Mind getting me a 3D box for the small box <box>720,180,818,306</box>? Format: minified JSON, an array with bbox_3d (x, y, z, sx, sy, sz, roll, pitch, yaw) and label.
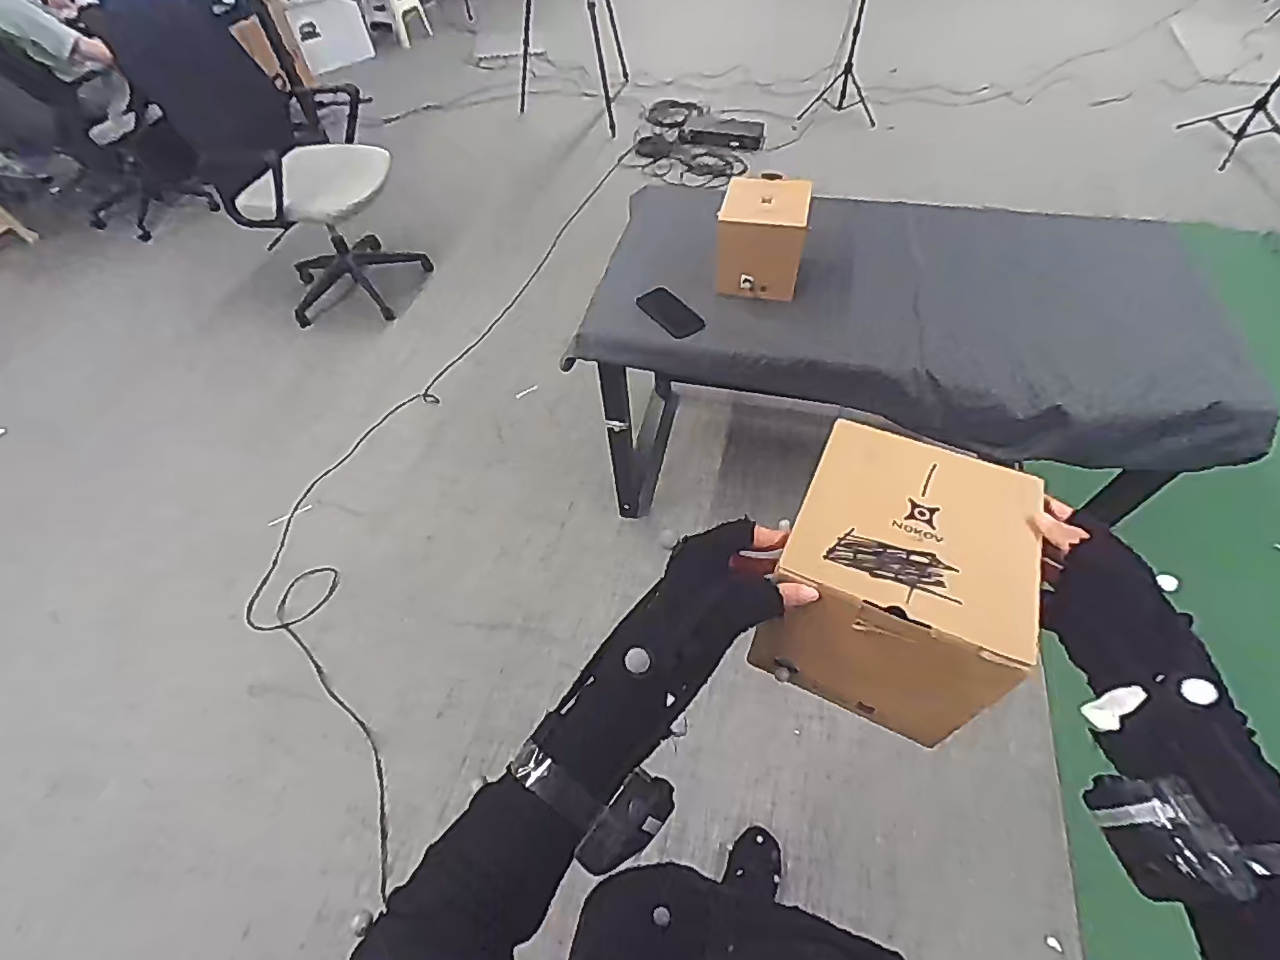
[{"bbox_3d":[0.261,-0.489,1.117,0.168,0.176,0.179,10,56,12],"label":"small box"}]
